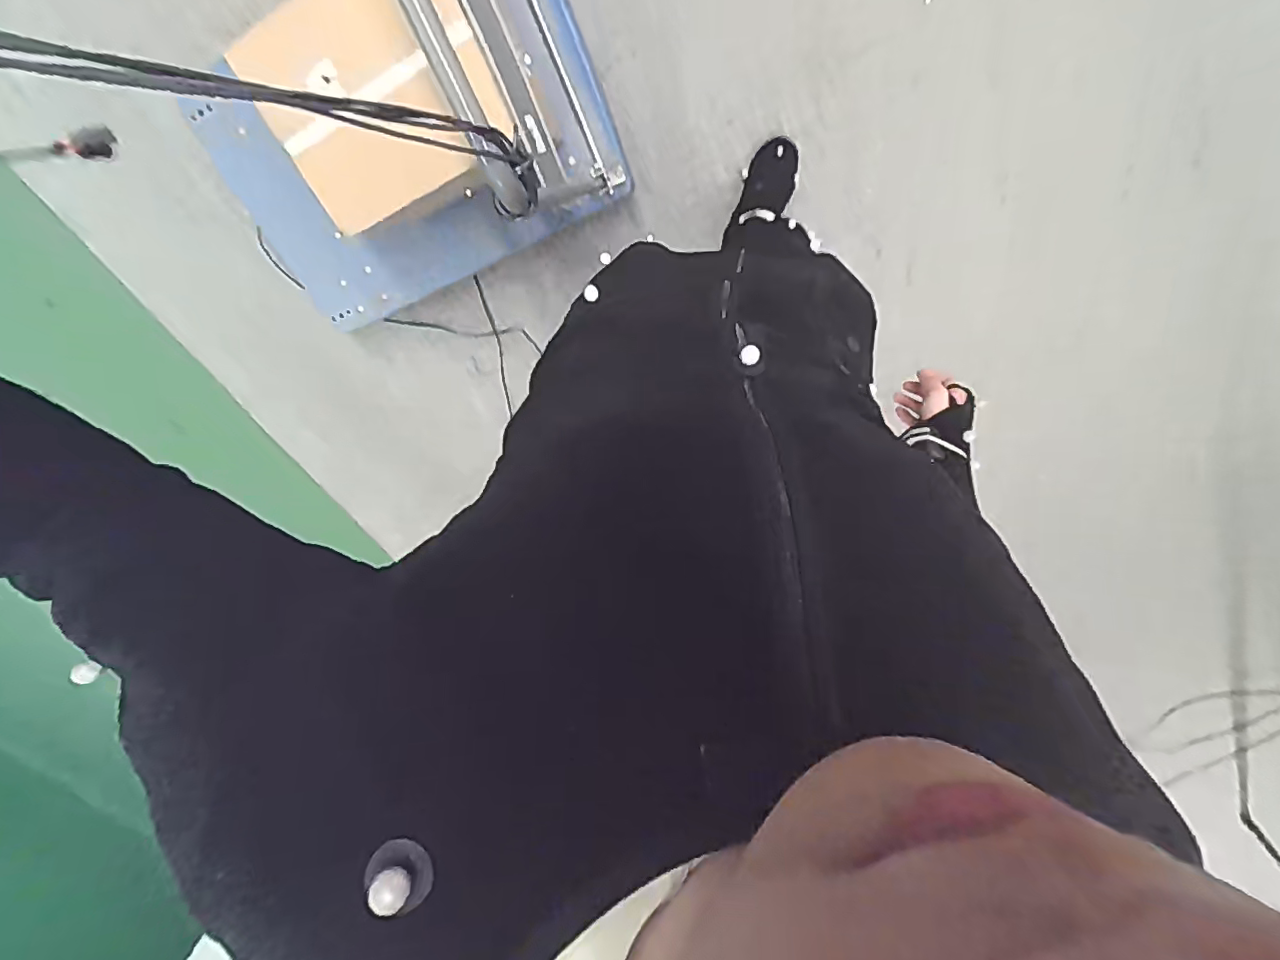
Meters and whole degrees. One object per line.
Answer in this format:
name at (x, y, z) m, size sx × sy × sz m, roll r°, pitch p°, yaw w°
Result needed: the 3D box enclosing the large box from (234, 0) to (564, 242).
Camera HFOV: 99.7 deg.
large box at (-0.412, -0.708, 1.017) m, size 0.408 × 0.320 × 0.320 m, roll -19°, pitch 116°, yaw 17°
